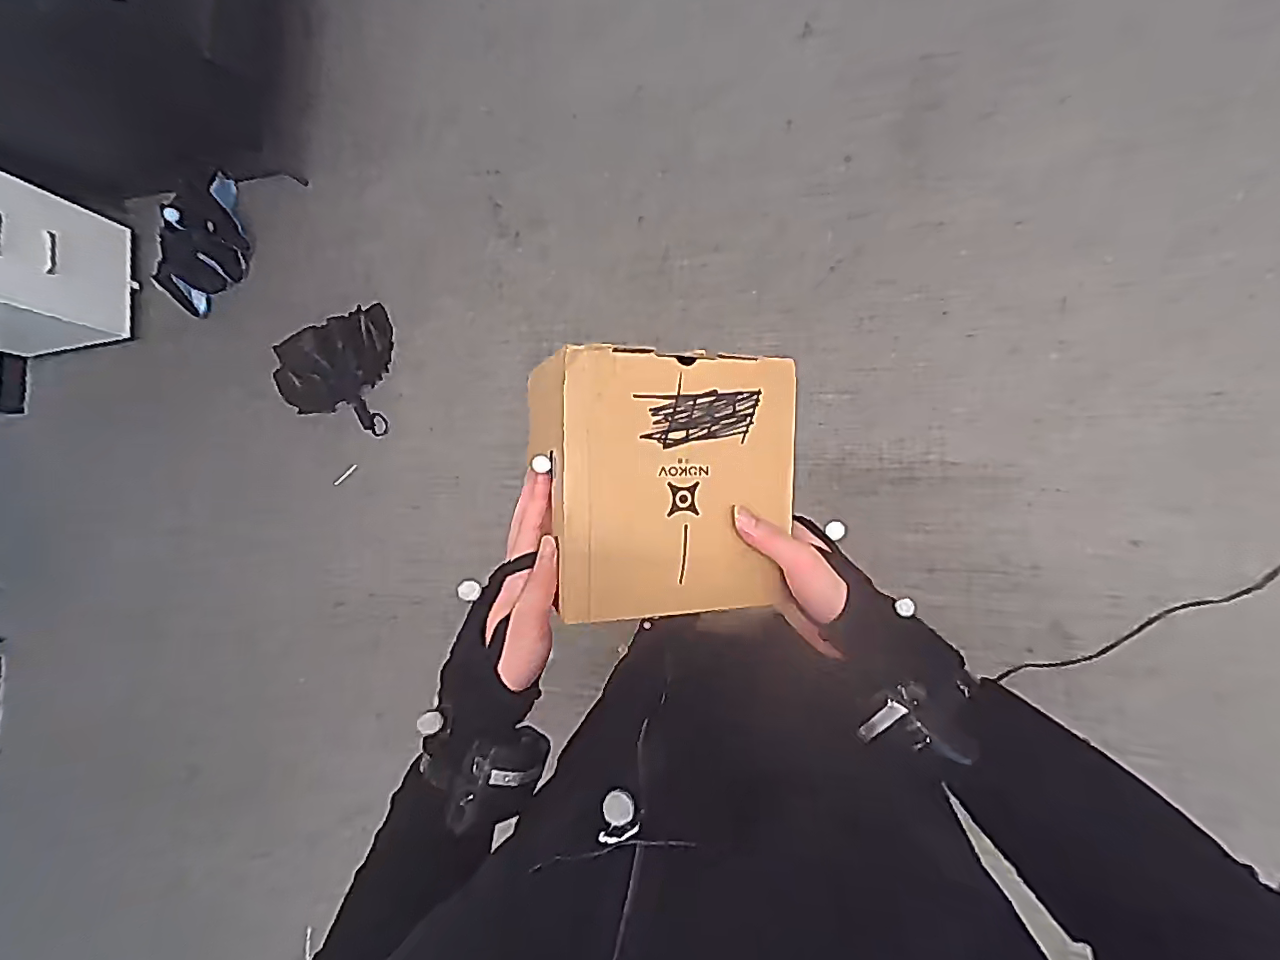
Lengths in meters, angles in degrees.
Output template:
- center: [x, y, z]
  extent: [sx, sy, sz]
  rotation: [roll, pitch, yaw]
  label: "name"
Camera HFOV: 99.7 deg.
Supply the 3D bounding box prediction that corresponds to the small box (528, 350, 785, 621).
- center: [0.000, -0.001, 0.442]
  extent: [0.168, 0.176, 0.179]
  rotation: [-1, 95, -18]
  label: "small box"
